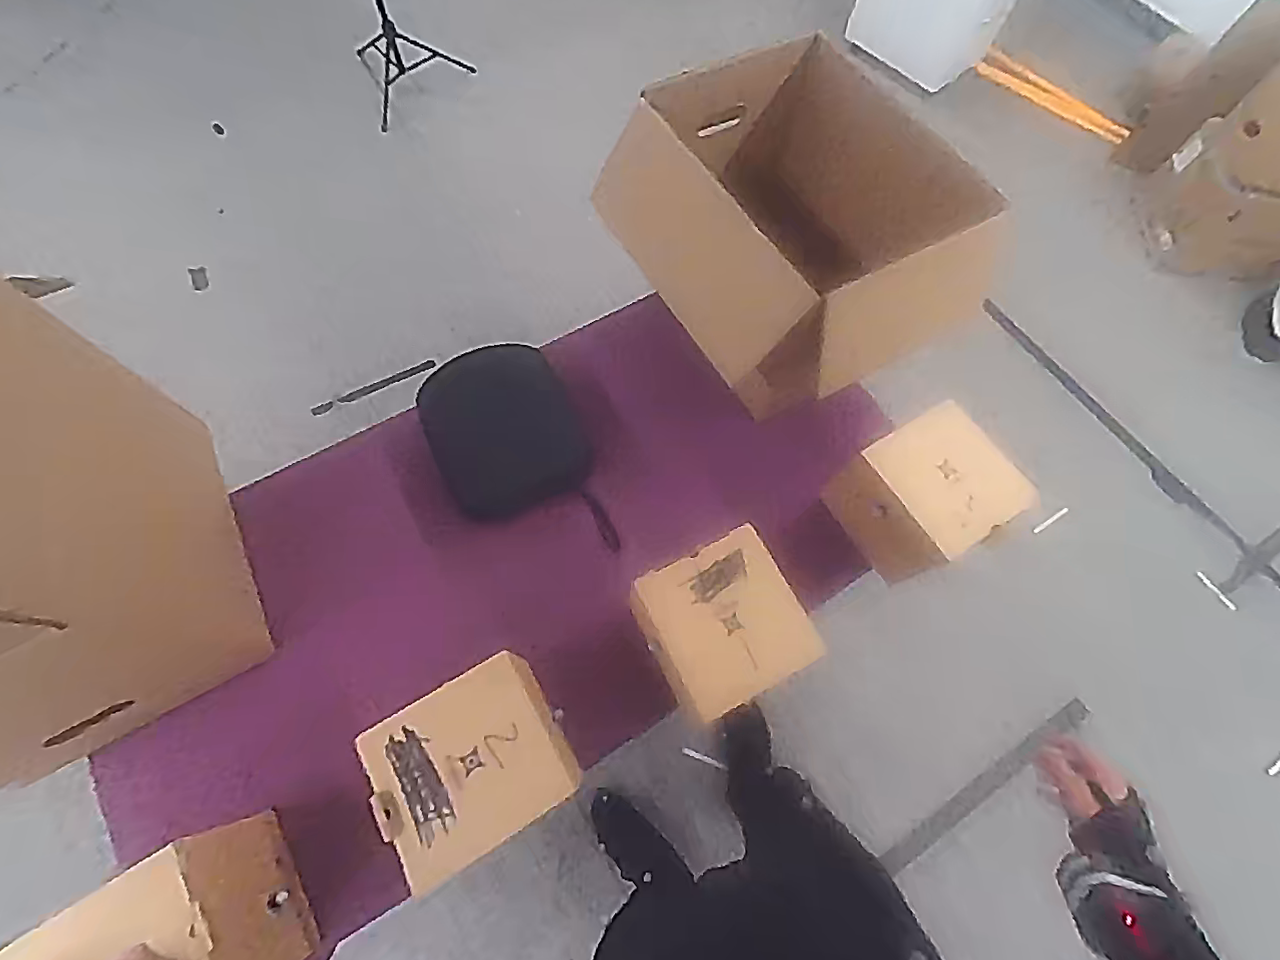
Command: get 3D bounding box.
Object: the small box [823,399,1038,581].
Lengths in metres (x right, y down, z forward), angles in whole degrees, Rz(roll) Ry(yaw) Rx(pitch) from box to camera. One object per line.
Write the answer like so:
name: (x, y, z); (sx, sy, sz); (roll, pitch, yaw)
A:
small box: (0.397, 0.022, 0.777); (0.168, 0.176, 0.179); (-29, 72, -12)

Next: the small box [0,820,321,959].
small box: (-0.474, 0.489, 0.551); (0.179, 0.176, 0.168); (-31, 72, -15)

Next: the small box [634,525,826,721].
small box: (0.099, 0.188, 0.699); (0.168, 0.176, 0.179); (-26, 72, -12)
